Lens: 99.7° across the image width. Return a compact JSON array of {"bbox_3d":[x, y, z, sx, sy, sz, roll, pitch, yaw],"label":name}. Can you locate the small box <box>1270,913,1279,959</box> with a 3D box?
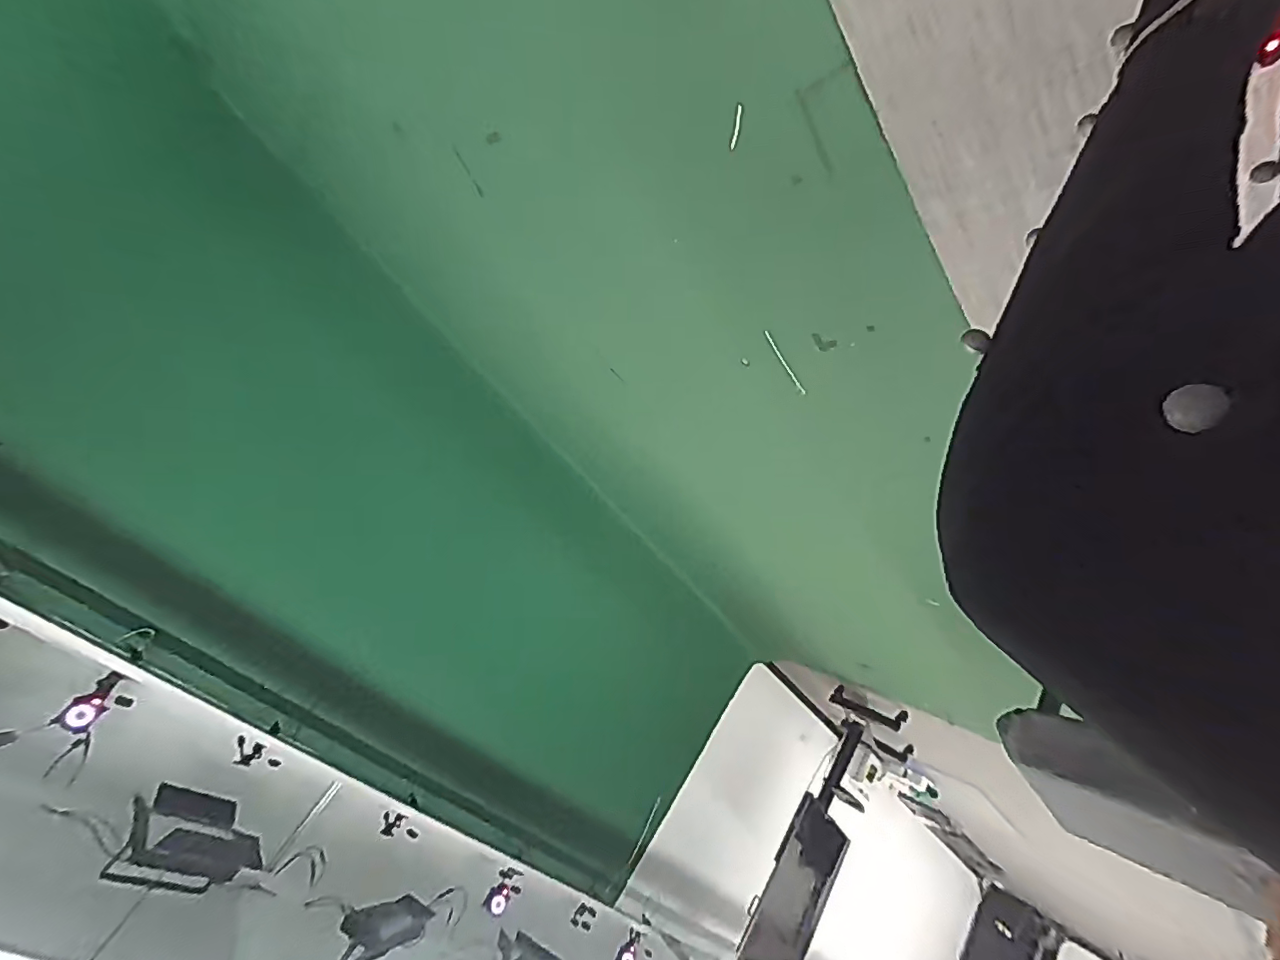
[{"bbox_3d":[1.666,1.125,1.286,0.168,0.176,0.179,45,159,-20],"label":"small box"}]
